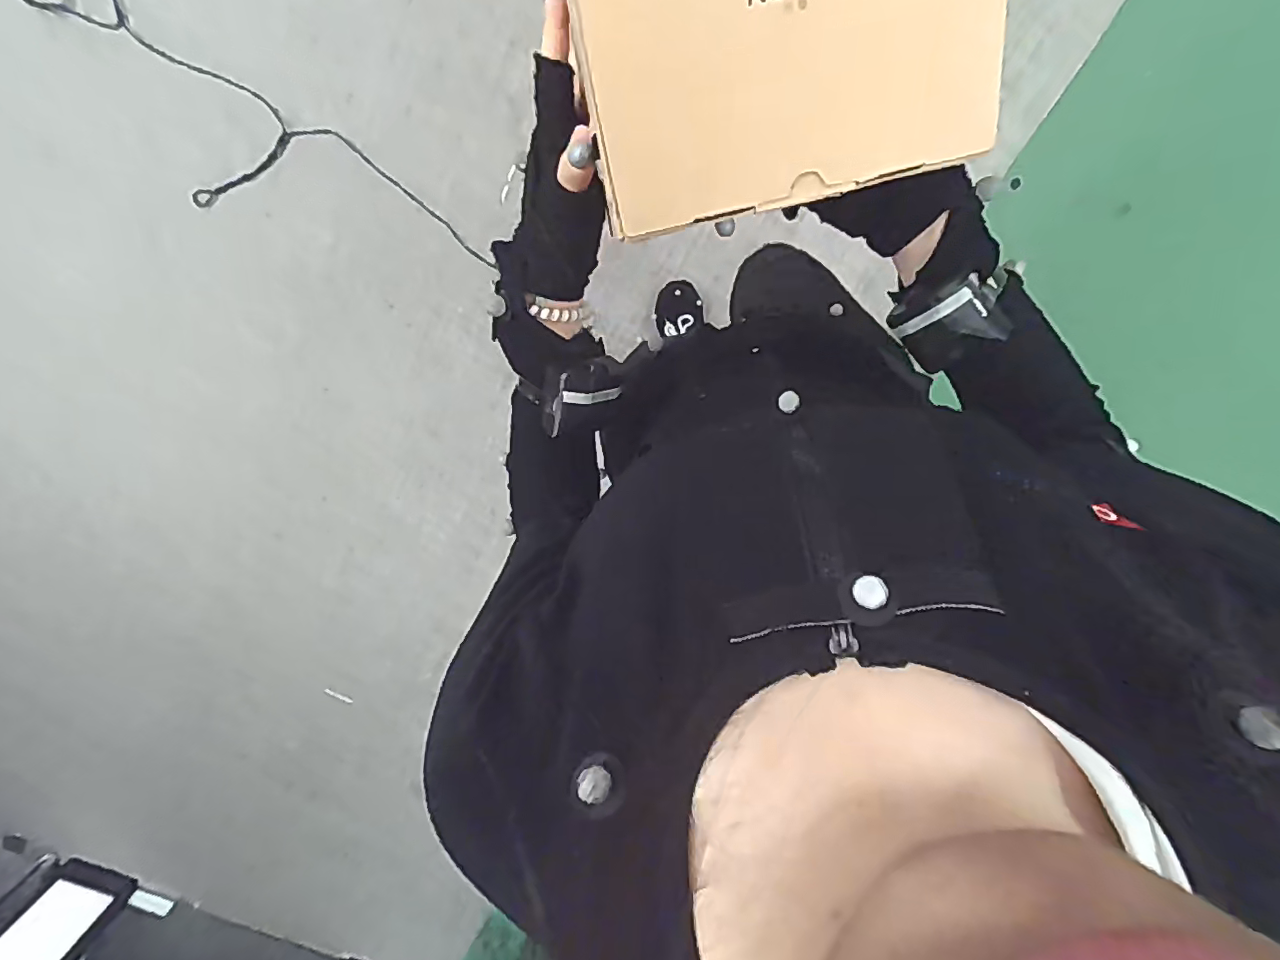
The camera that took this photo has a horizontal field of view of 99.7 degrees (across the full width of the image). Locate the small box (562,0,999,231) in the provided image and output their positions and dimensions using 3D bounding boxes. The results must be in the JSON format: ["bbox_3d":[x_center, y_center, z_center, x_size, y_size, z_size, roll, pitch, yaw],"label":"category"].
[{"bbox_3d":[0.048,-0.236,0.273,0.168,0.176,0.179,-13,117,1],"label":"small box"}]
